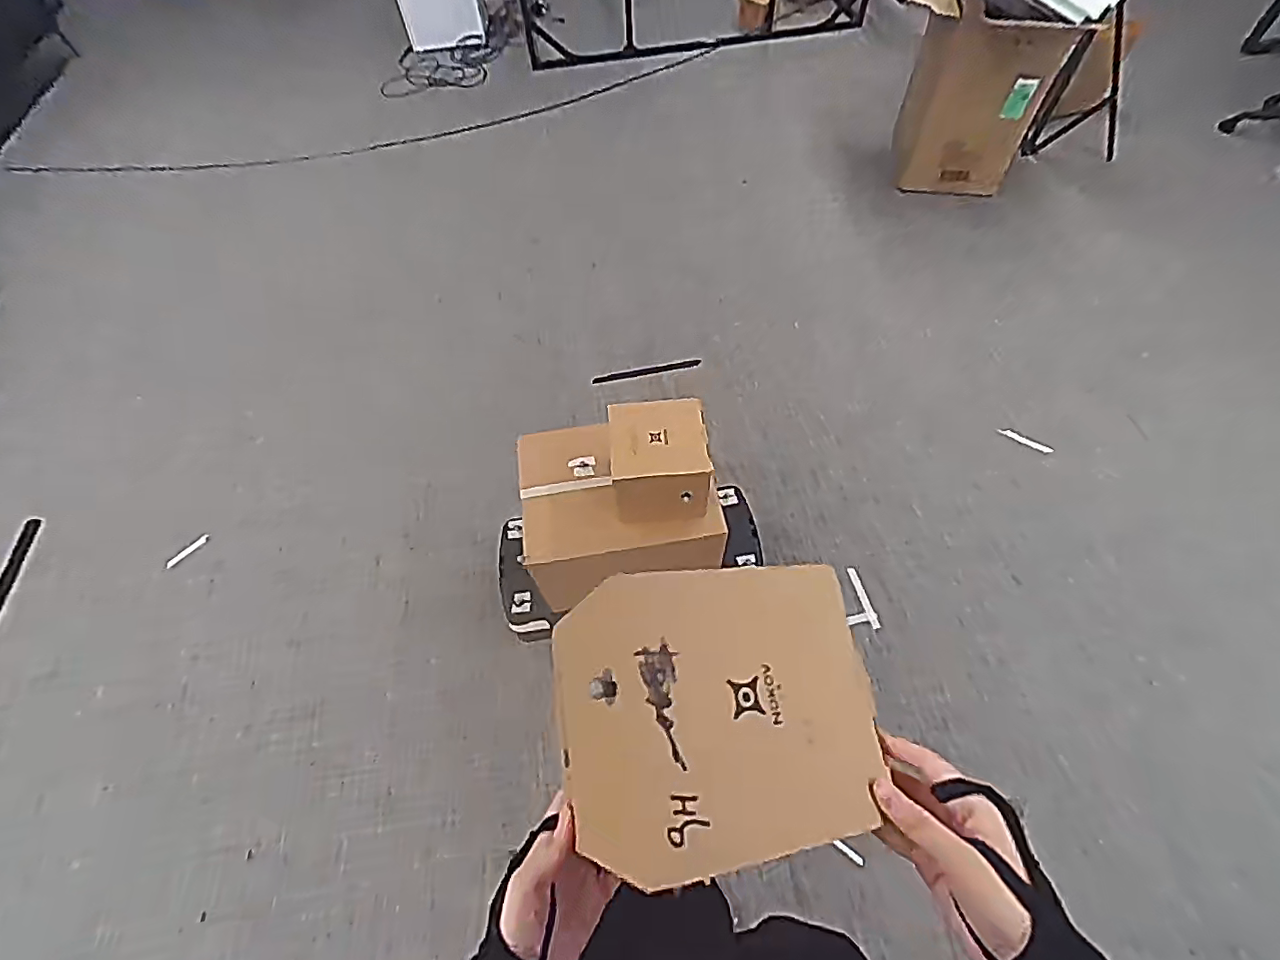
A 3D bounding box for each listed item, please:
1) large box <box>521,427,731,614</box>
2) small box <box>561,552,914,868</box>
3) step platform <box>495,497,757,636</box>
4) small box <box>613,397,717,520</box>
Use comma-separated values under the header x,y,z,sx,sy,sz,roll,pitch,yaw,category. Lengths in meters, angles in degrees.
x,y,z,sx,sy,sz,roll,pitch,yaw,category
-0.031,0.088,1.243,0.408,0.320,0.320,-10,58,-1,large box
0.051,0.158,0.397,0.179,0.176,0.168,3,63,-22,small box
-0.033,0.228,1.437,0.684,0.204,0.286,-5,59,1,step platform
0.044,-0.036,1.027,0.179,0.176,0.168,-5,59,1,small box
